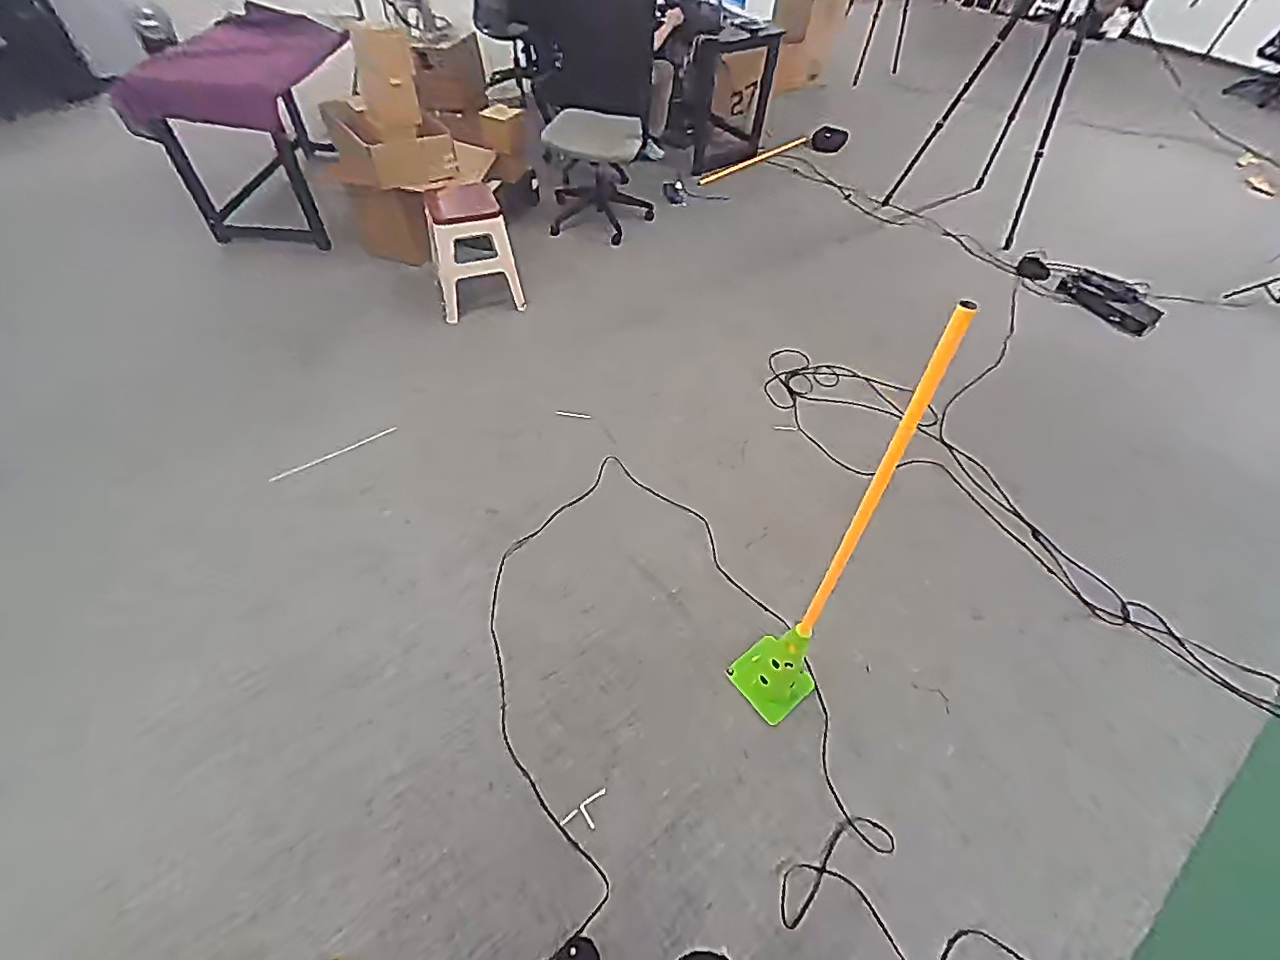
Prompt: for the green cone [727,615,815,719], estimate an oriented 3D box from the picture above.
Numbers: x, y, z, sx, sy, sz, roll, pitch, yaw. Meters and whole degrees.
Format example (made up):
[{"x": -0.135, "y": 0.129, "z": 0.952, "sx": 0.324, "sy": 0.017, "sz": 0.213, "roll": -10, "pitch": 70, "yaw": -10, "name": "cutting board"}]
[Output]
[{"x": 0.395, "y": 0.463, "z": 1.456, "sx": 0.202, "sy": 0.368, "sz": 0.200, "roll": -31, "pitch": 61, "yaw": -26, "name": "green cone"}]
